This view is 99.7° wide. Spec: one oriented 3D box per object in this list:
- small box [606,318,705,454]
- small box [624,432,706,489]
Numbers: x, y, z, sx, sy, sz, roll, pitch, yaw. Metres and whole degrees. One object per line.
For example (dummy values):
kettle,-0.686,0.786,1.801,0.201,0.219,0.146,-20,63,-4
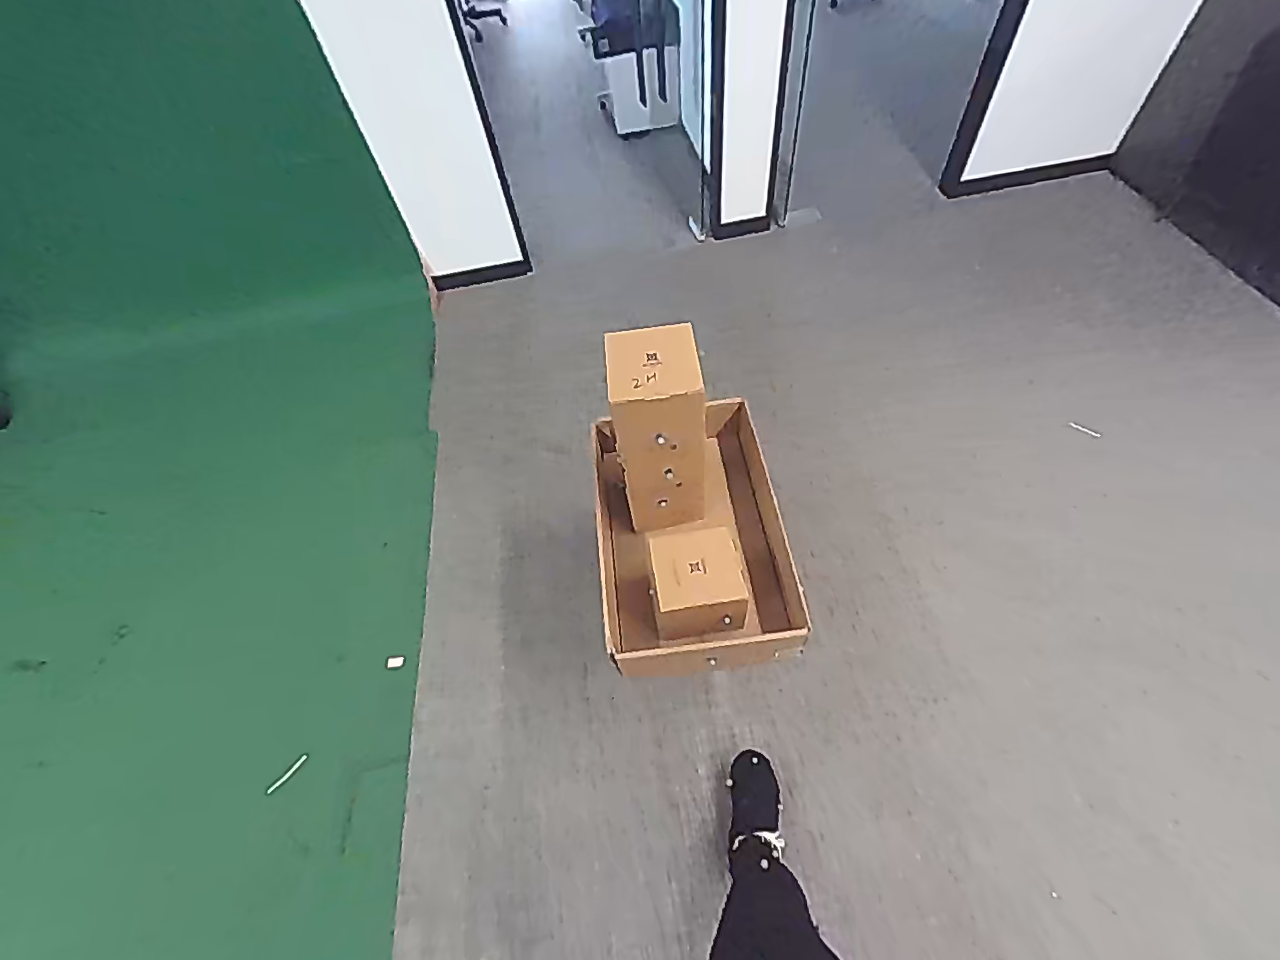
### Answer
small box,0.029,-0.172,1.013,0.168,0.176,0.179,-7,57,3
small box,0.043,-0.096,1.161,0.168,0.176,0.179,-13,57,-2
